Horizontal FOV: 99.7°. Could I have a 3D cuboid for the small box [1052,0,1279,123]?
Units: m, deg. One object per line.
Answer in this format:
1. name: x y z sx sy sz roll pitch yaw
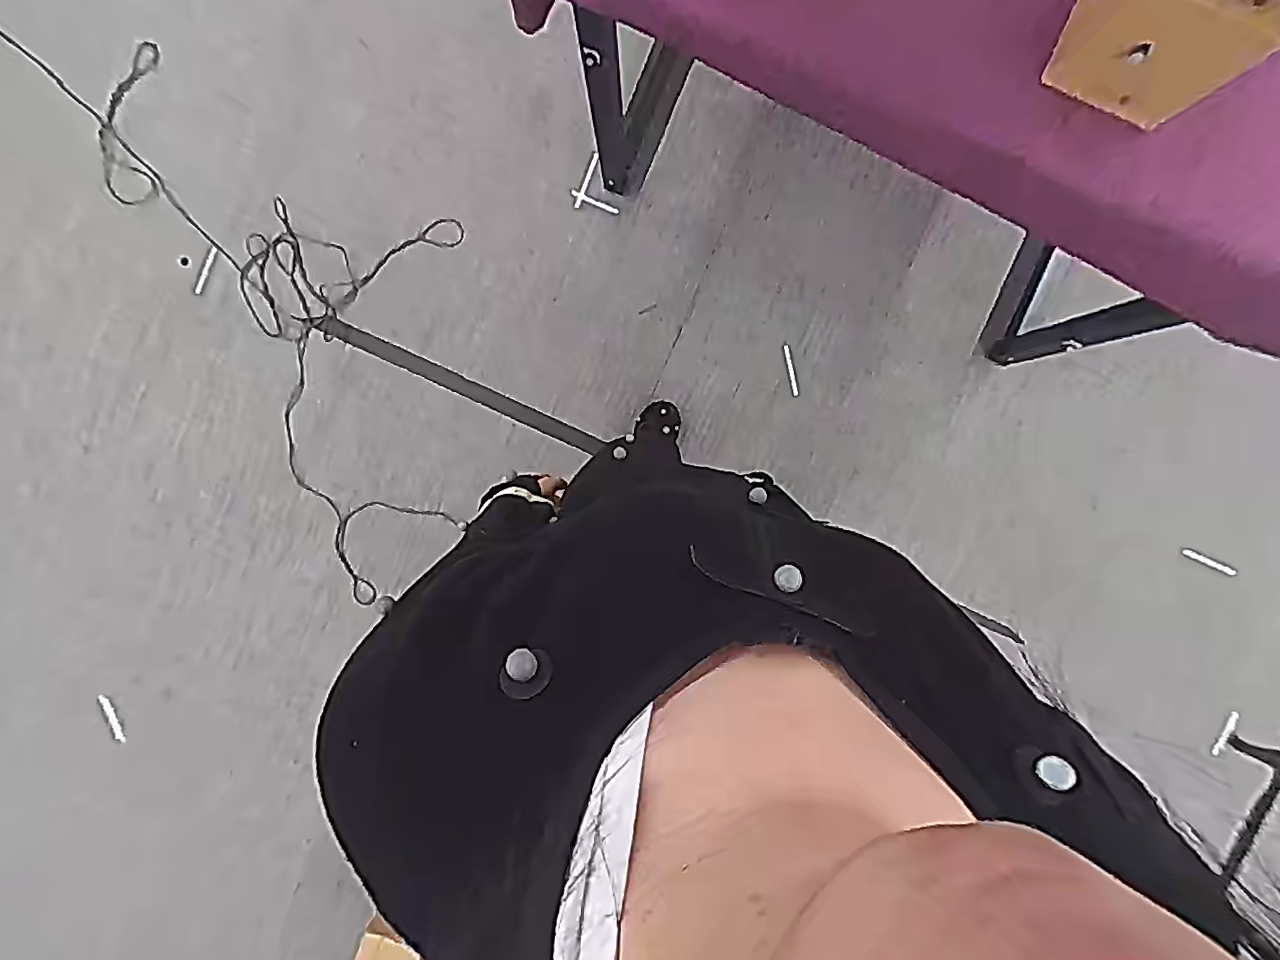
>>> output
1. small box: 0.649 -0.579 0.647 0.168 0.176 0.179 24 93 0
